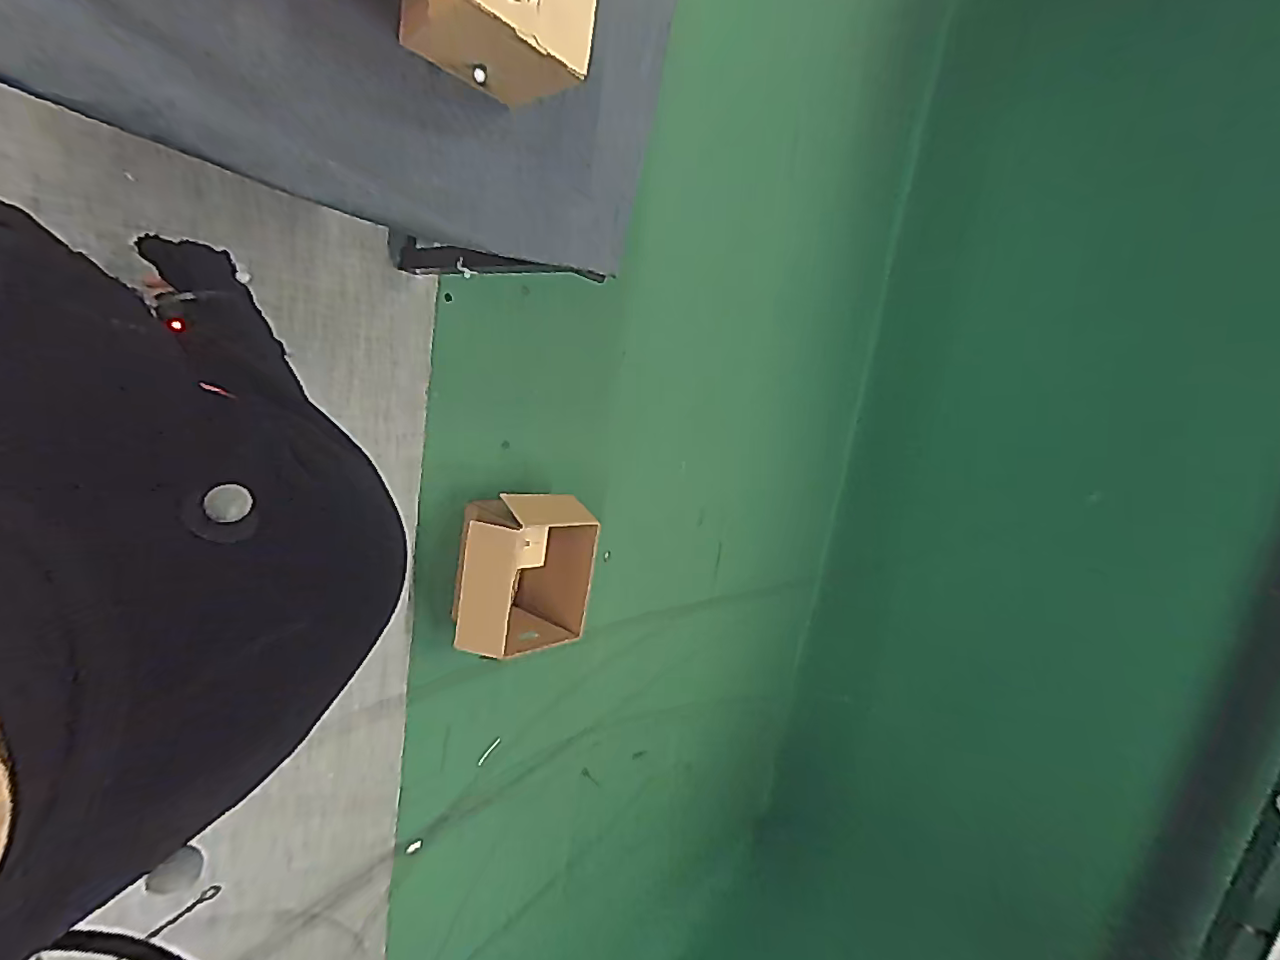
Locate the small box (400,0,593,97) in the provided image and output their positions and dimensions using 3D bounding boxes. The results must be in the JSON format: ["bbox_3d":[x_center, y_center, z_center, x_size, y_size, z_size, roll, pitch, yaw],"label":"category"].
[{"bbox_3d":[-0.171,-0.609,0.651,0.168,0.176,0.179,-1,105,-48],"label":"small box"}]
